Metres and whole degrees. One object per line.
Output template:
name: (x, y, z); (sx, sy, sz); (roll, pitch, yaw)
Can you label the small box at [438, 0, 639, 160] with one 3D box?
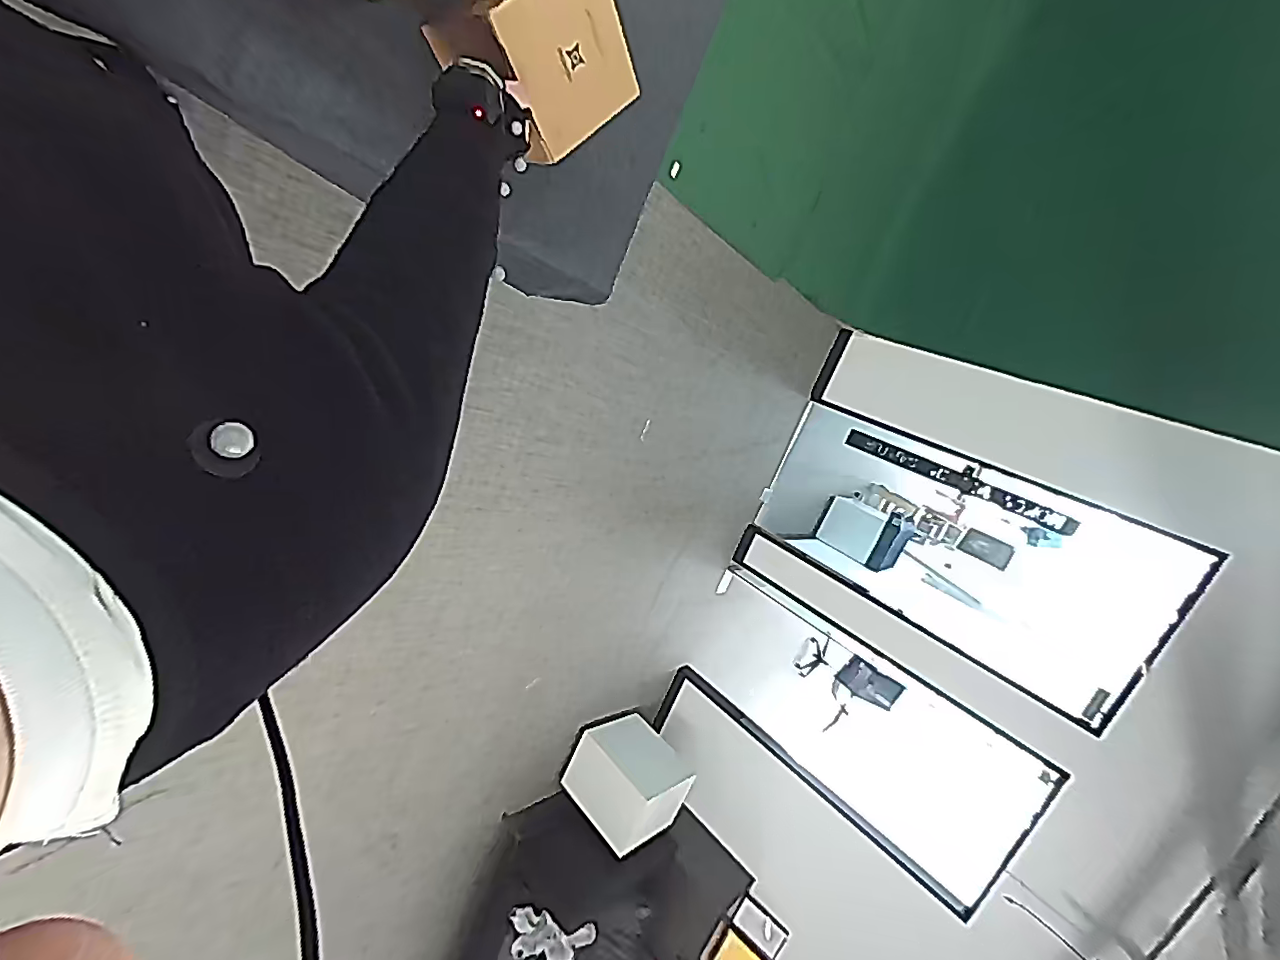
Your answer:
small box: (-0.137, -0.555, 0.712); (0.179, 0.176, 0.168); (-48, 144, -14)
